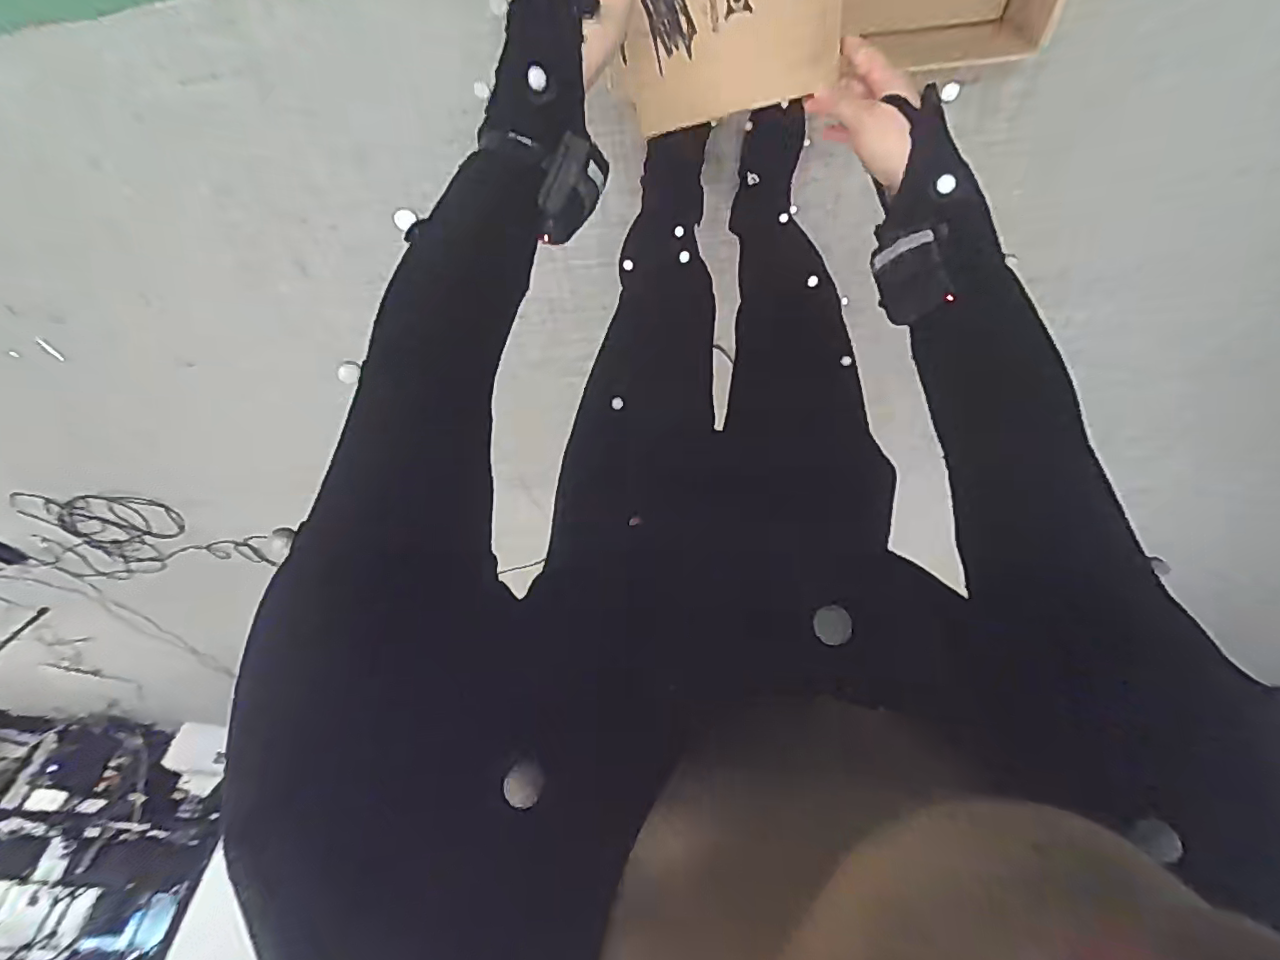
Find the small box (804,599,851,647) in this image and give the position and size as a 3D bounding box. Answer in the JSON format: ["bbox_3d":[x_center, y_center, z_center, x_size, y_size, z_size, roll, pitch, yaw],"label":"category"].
[{"bbox_3d":[0.851,0.655,2.468,0.179,0.176,0.168,-4,141,10],"label":"small box"}]

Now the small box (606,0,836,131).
[{"bbox_3d":[0.063,-0.439,0.452,0.179,0.176,0.168,-6,152,12],"label":"small box"}]
